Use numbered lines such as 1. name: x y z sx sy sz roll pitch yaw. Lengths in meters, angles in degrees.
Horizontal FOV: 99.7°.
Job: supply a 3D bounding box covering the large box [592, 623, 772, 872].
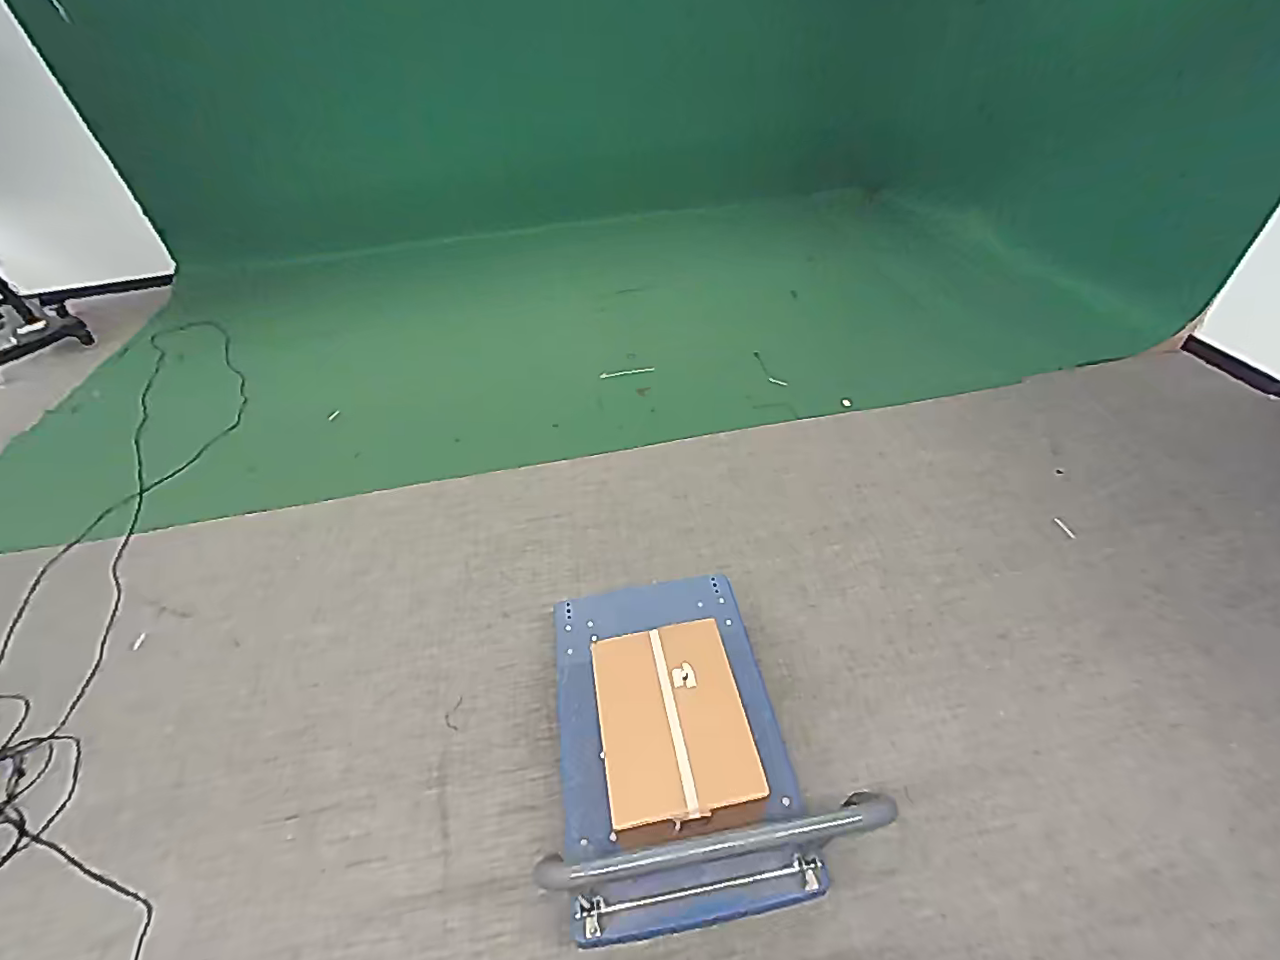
1. large box: 0.084 0.619 1.274 0.320 0.320 0.408 -10 42 -5
